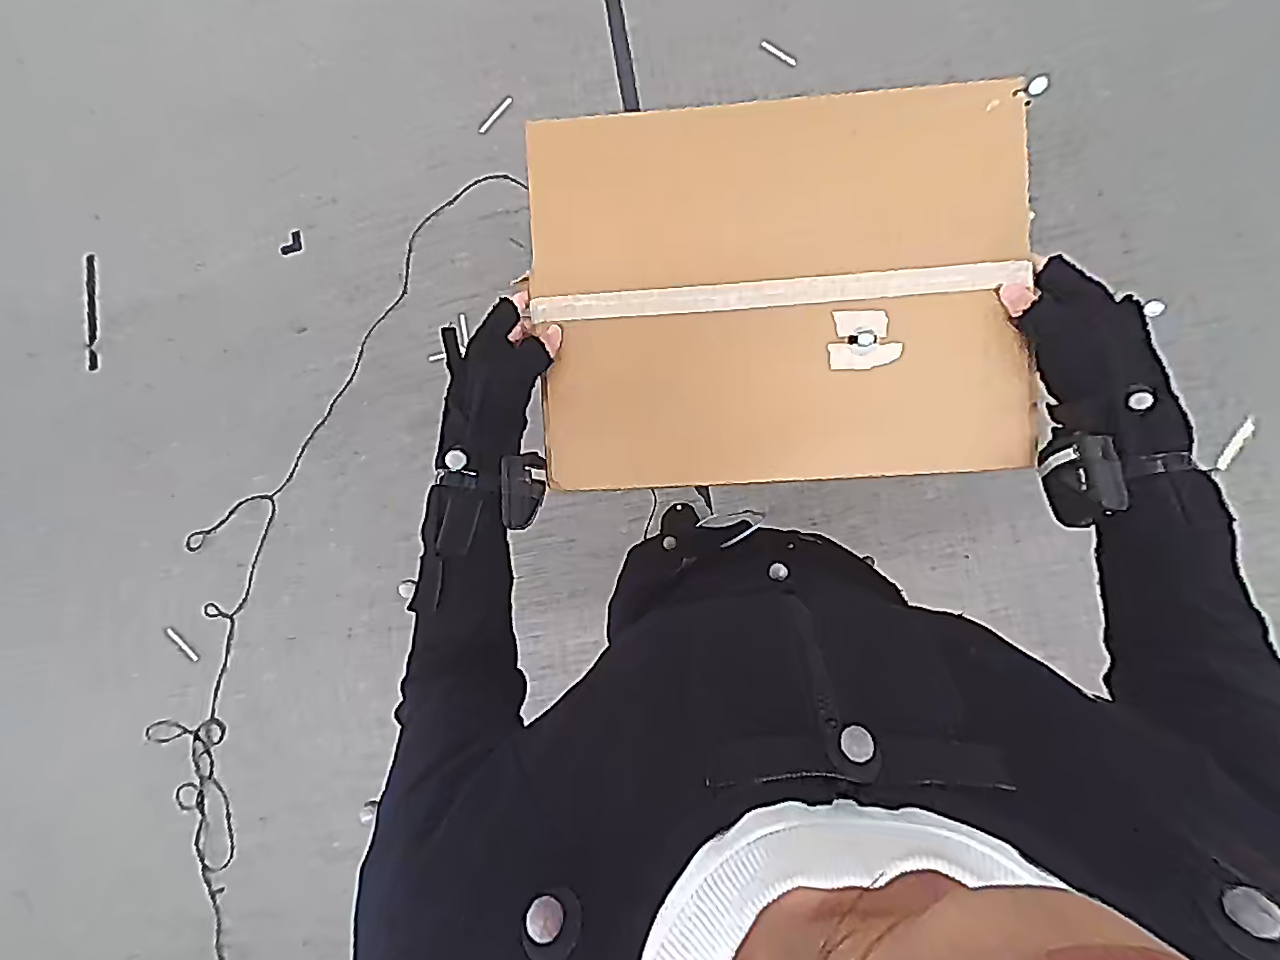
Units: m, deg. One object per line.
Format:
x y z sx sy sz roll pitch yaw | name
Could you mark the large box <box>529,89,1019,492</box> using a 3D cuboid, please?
0.117 -0.162 0.611 0.408 0.320 0.320 -4 92 3 | large box
